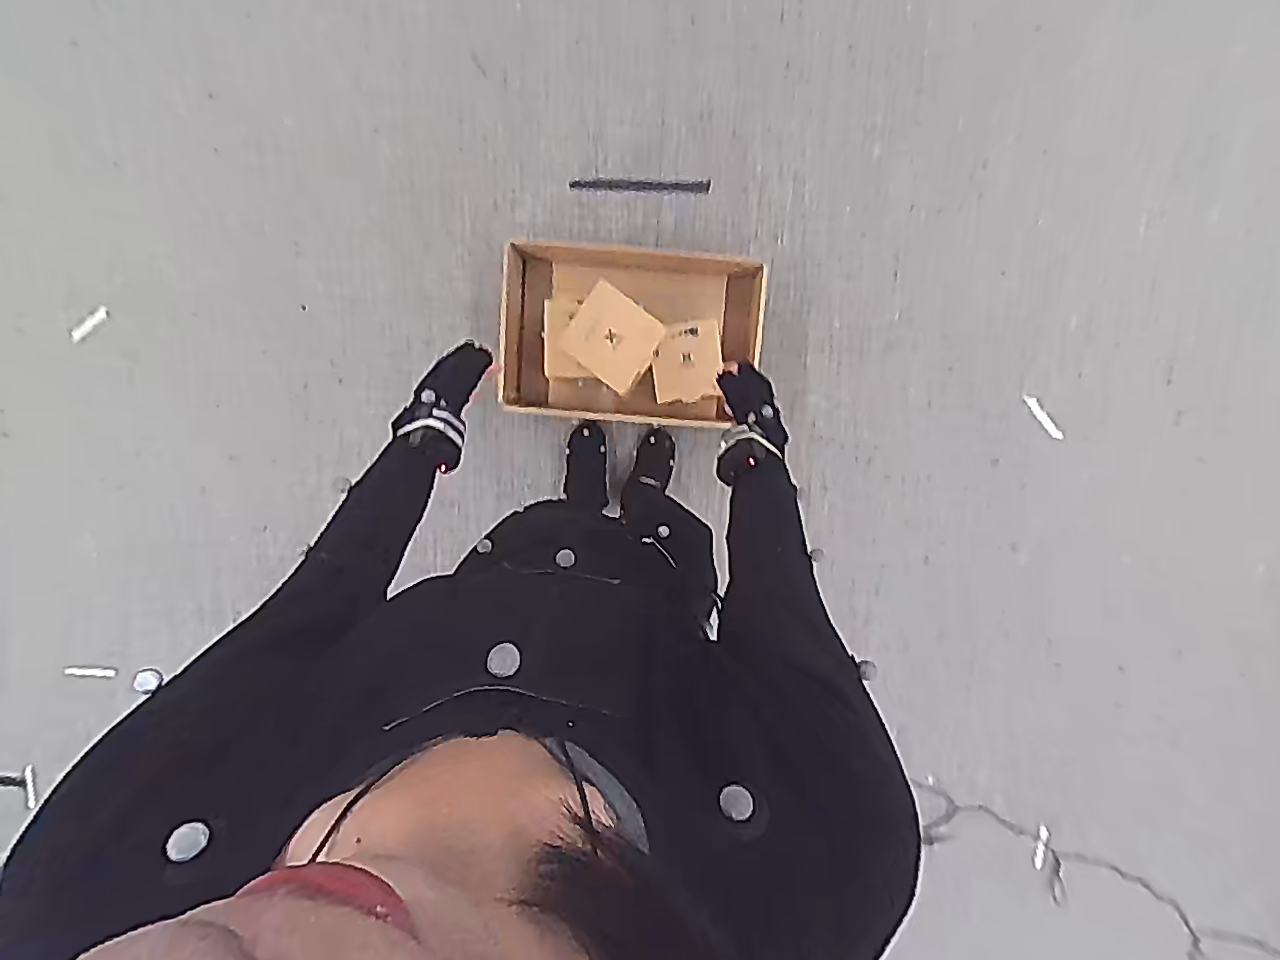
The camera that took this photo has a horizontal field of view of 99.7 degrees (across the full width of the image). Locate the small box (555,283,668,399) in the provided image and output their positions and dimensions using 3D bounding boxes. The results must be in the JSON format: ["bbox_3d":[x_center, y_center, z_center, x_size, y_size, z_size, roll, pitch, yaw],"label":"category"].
[{"bbox_3d":[-0.057,-0.291,1.173,0.179,0.176,0.168,36,94,-3],"label":"small box"}]
